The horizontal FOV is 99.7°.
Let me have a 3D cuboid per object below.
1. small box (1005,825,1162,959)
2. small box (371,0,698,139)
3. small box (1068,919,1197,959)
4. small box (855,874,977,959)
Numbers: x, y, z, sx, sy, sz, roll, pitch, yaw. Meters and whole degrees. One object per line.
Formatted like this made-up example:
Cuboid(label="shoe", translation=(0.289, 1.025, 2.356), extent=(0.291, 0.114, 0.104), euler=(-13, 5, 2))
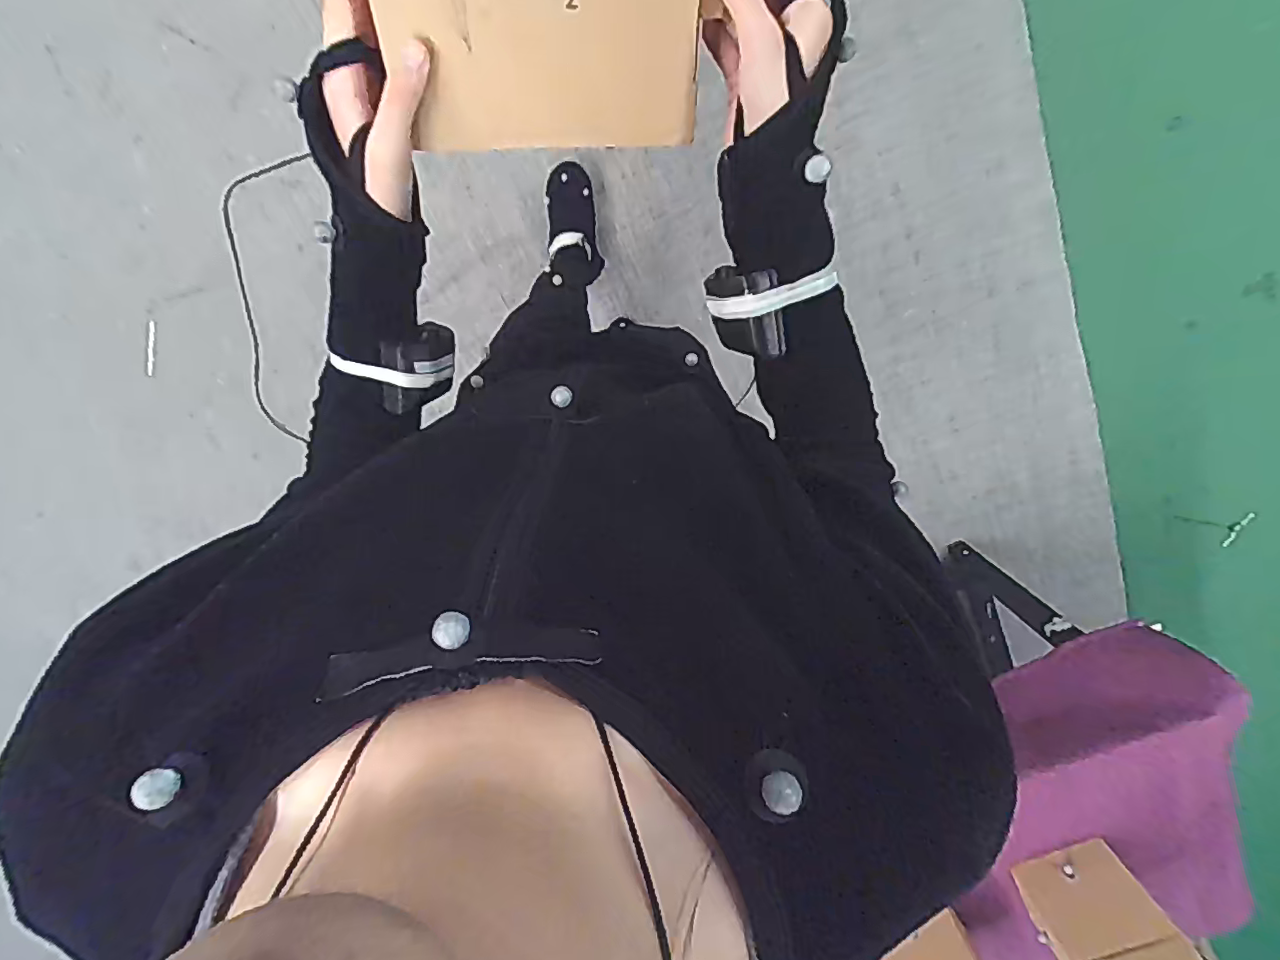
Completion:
Cuboid(label="small box", translation=(0.820, 0.792, 1.007), extent=(0.179, 0.176, 0.168), euler=(-26, 110, 9))
Cuboid(label="small box", translation=(-0.067, -0.323, 0.332), extent=(0.179, 0.176, 0.168), euler=(-6, 133, -8))
Cuboid(label="small box", translation=(0.822, 0.851, 0.854), extent=(0.179, 0.176, 0.168), euler=(-27, 109, 8))
Cuboid(label="small box", translation=(0.554, 0.922, 1.053), extent=(0.168, 0.176, 0.179), euler=(-32, 108, 10))
